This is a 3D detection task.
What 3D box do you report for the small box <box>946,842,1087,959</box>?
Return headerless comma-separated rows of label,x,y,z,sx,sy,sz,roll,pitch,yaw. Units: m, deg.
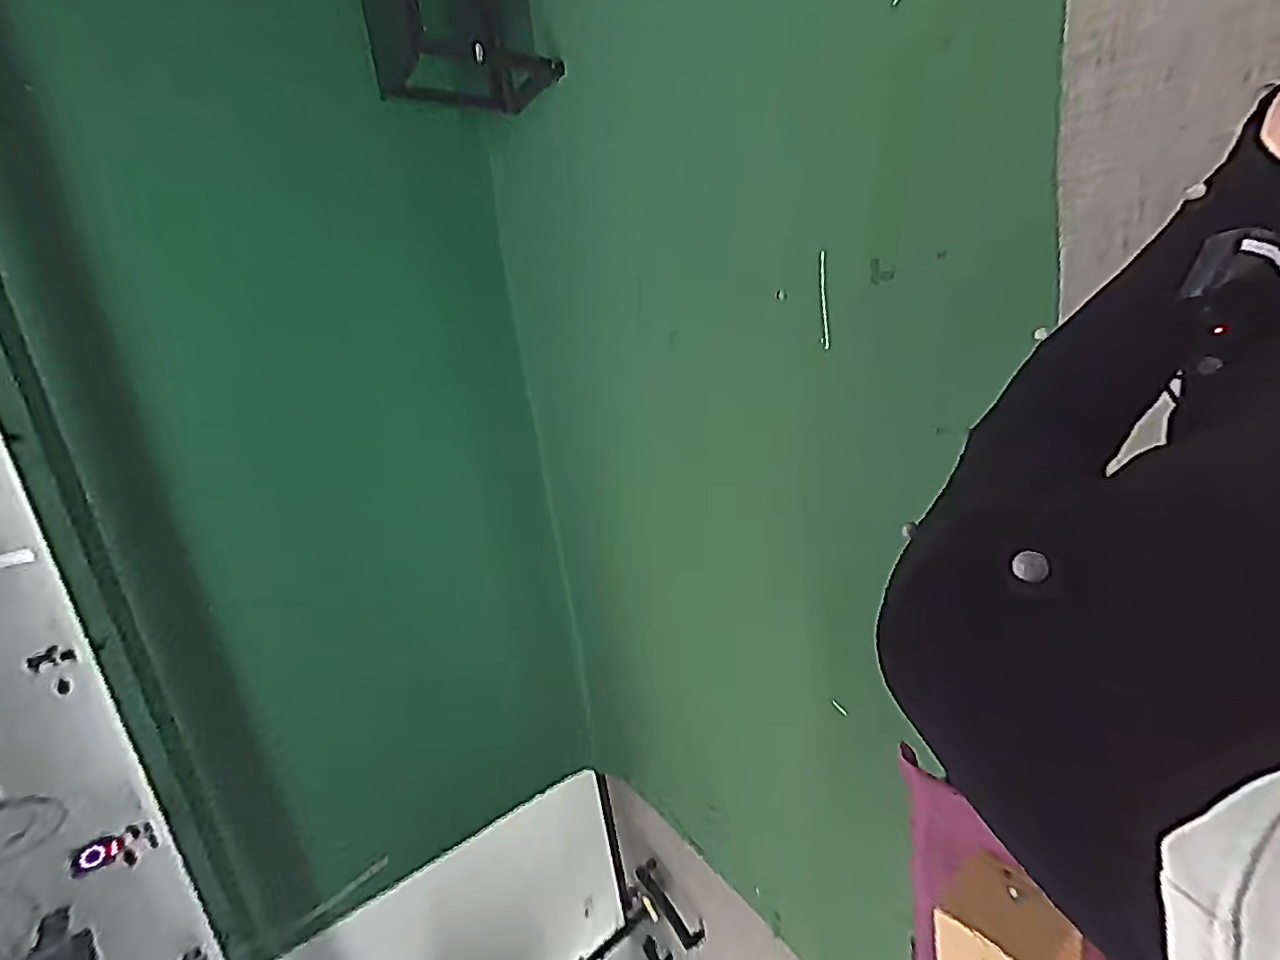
small box,0.672,0.811,0.965,0.168,0.176,0.179,8,112,52
